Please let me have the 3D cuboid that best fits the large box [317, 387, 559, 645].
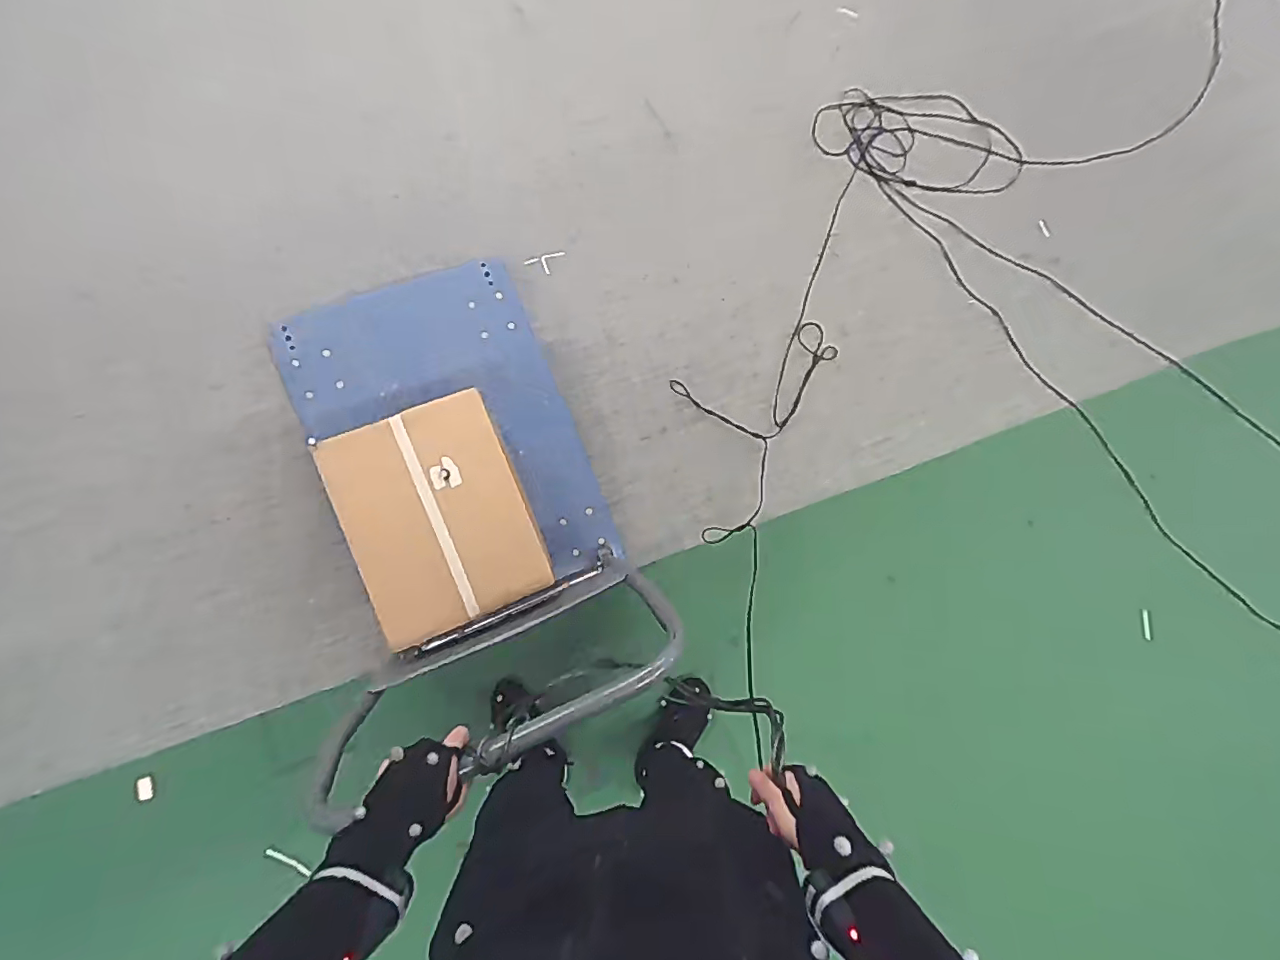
[{"bbox_3d":[-0.389,0.072,1.143,0.320,0.320,0.408,-23,89,-11],"label":"large box"}]
